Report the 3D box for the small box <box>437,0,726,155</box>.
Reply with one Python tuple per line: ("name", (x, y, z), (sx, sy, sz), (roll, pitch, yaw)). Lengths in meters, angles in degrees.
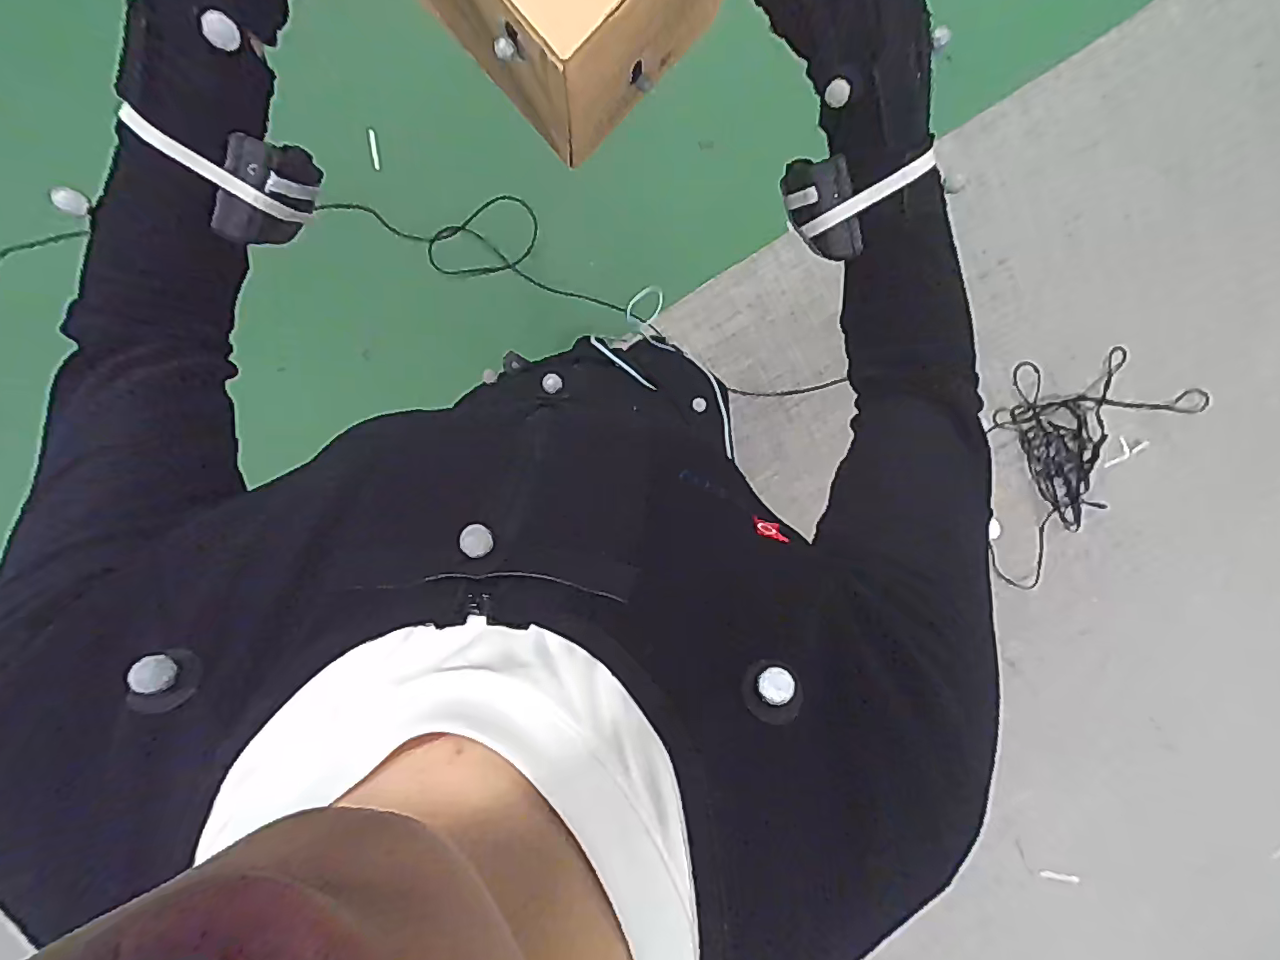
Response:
("small box", (-0.044, -0.359, 0.351), (0.168, 0.176, 0.179), (-43, 104, 5))
